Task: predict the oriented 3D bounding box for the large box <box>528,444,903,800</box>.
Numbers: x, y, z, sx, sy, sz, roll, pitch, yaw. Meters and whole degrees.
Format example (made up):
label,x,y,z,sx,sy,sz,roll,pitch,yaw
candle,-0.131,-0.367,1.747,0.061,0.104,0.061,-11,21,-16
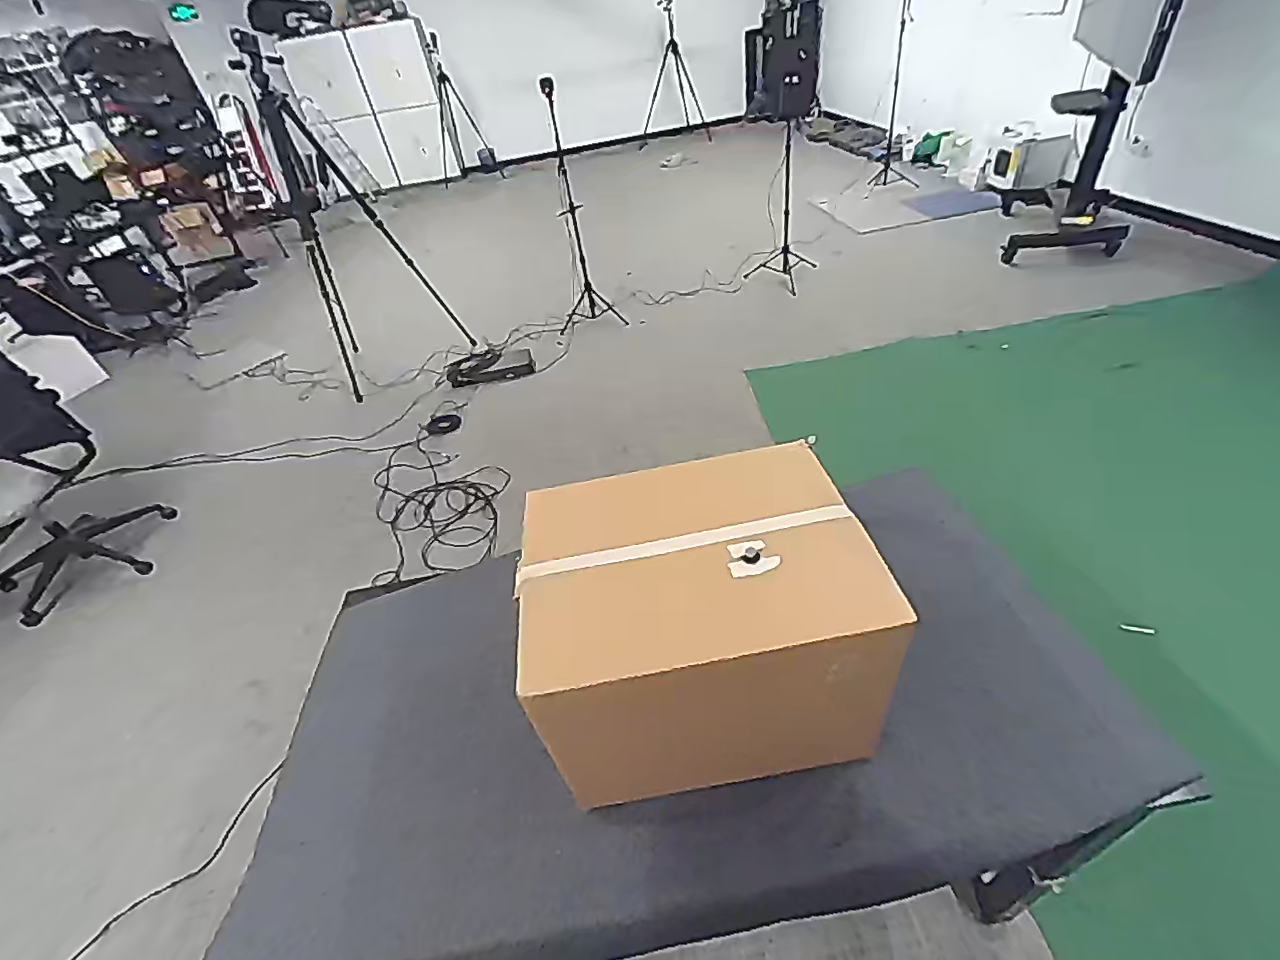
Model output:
label,x,y,z,sx,sy,sz,roll,pitch,yaw
large box,0.077,0.193,0.758,0.408,0.320,0.320,-11,41,-1
